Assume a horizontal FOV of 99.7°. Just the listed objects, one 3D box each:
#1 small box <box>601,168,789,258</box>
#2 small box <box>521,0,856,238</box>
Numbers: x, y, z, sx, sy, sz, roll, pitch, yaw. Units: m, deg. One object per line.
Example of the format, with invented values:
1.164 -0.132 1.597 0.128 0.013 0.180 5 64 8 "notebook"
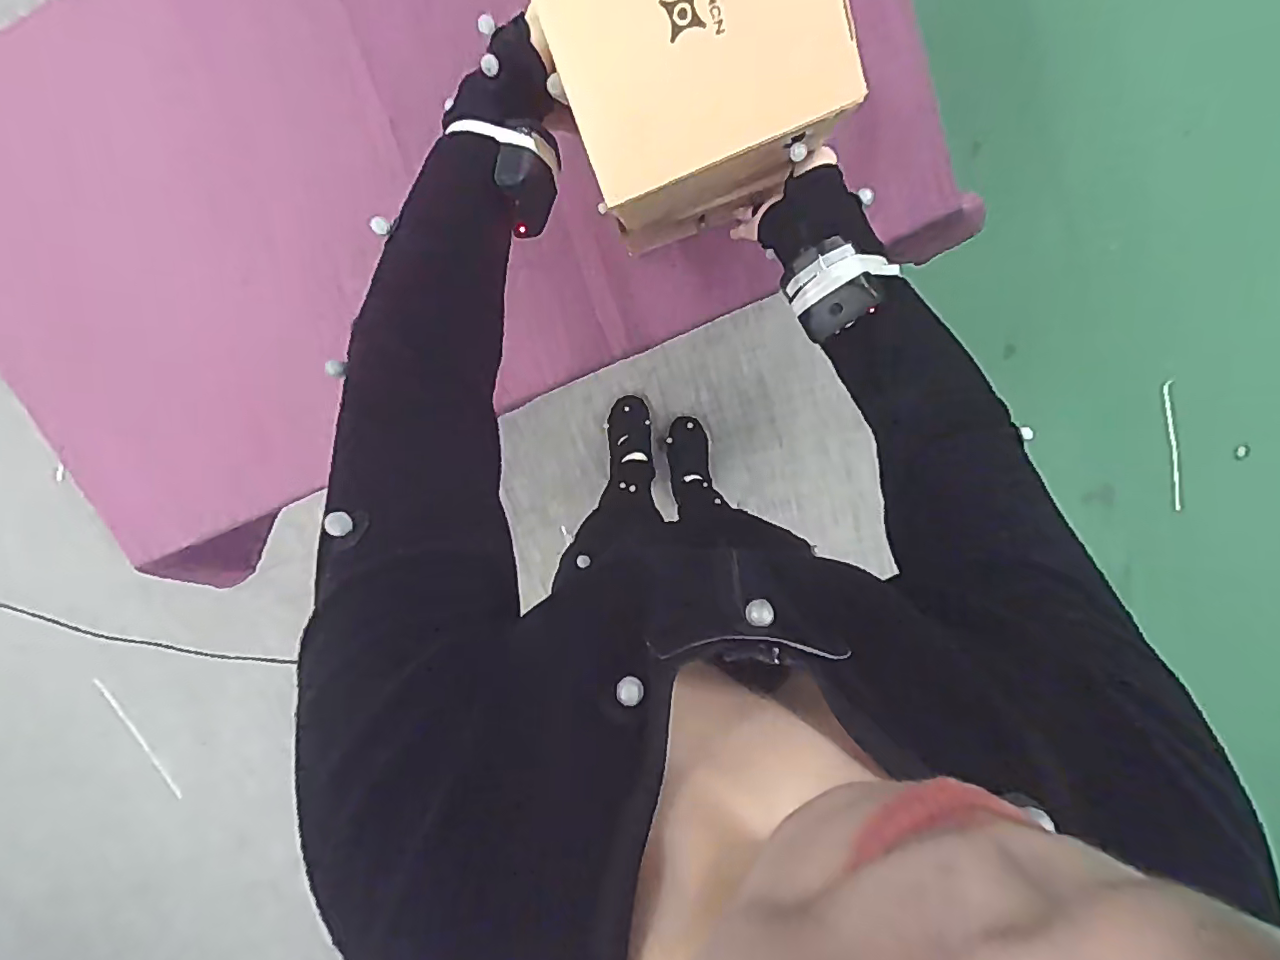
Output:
0.038 -0.345 0.564 0.179 0.176 0.168 -16 106 7 "small box"
0.031 -0.302 0.405 0.179 0.176 0.168 -21 105 8 "small box"
